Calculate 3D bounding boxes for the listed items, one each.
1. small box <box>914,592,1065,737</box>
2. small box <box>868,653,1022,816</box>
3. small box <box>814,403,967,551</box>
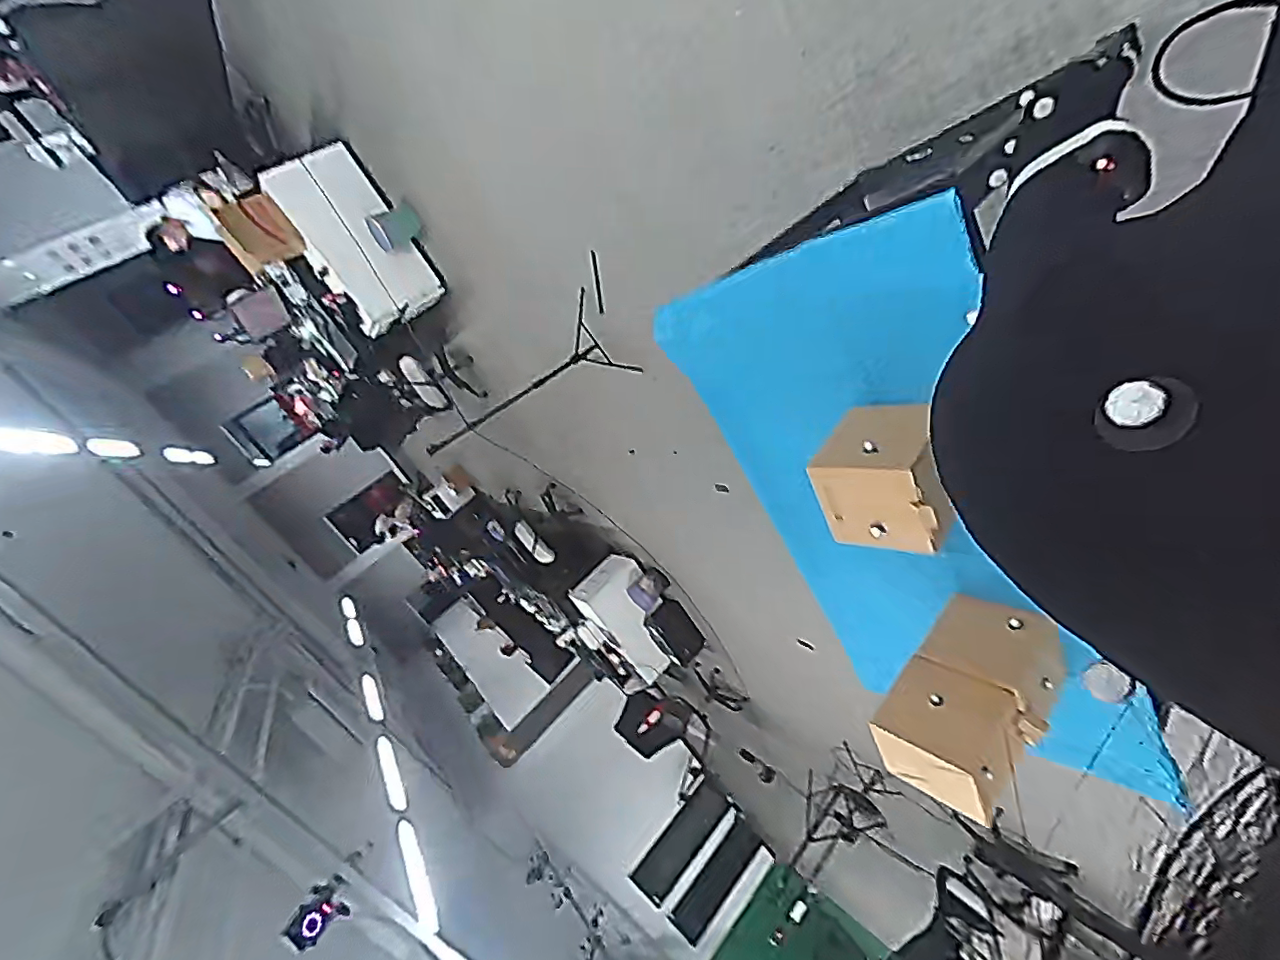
[{"bbox_3d":[0.661,0.347,1.026,0.179,0.176,0.168,8,134,55],"label":"small box"},{"bbox_3d":[0.547,0.453,0.972,0.179,0.176,0.168,10,136,52],"label":"small box"},{"bbox_3d":[0.406,-0.008,0.888,0.176,0.179,0.168,4,131,48],"label":"small box"}]
